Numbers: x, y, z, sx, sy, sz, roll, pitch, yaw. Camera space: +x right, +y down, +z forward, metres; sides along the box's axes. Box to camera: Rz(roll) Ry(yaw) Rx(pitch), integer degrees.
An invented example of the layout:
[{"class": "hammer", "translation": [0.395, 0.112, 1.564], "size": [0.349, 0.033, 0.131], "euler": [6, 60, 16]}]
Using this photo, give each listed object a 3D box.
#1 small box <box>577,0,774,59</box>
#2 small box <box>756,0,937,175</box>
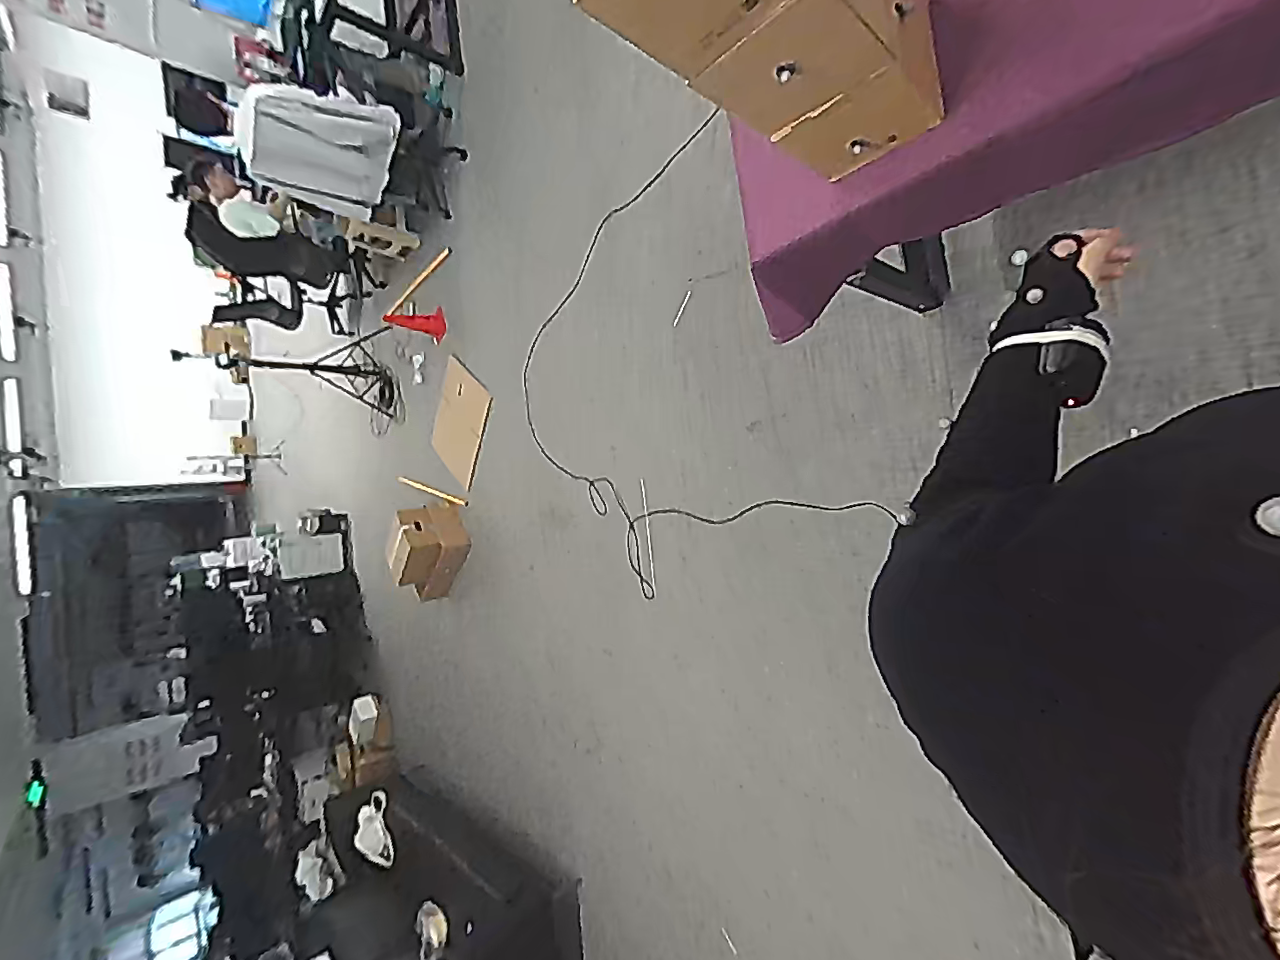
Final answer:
[{"class": "small box", "translation": [0.044, -0.548, 0.509], "size": [0.168, 0.176, 0.179], "euler": [-7, 87, 46]}, {"class": "small box", "translation": [0.281, -0.559, 0.734], "size": [0.168, 0.176, 0.179], "euler": [-9, 87, 47]}]
